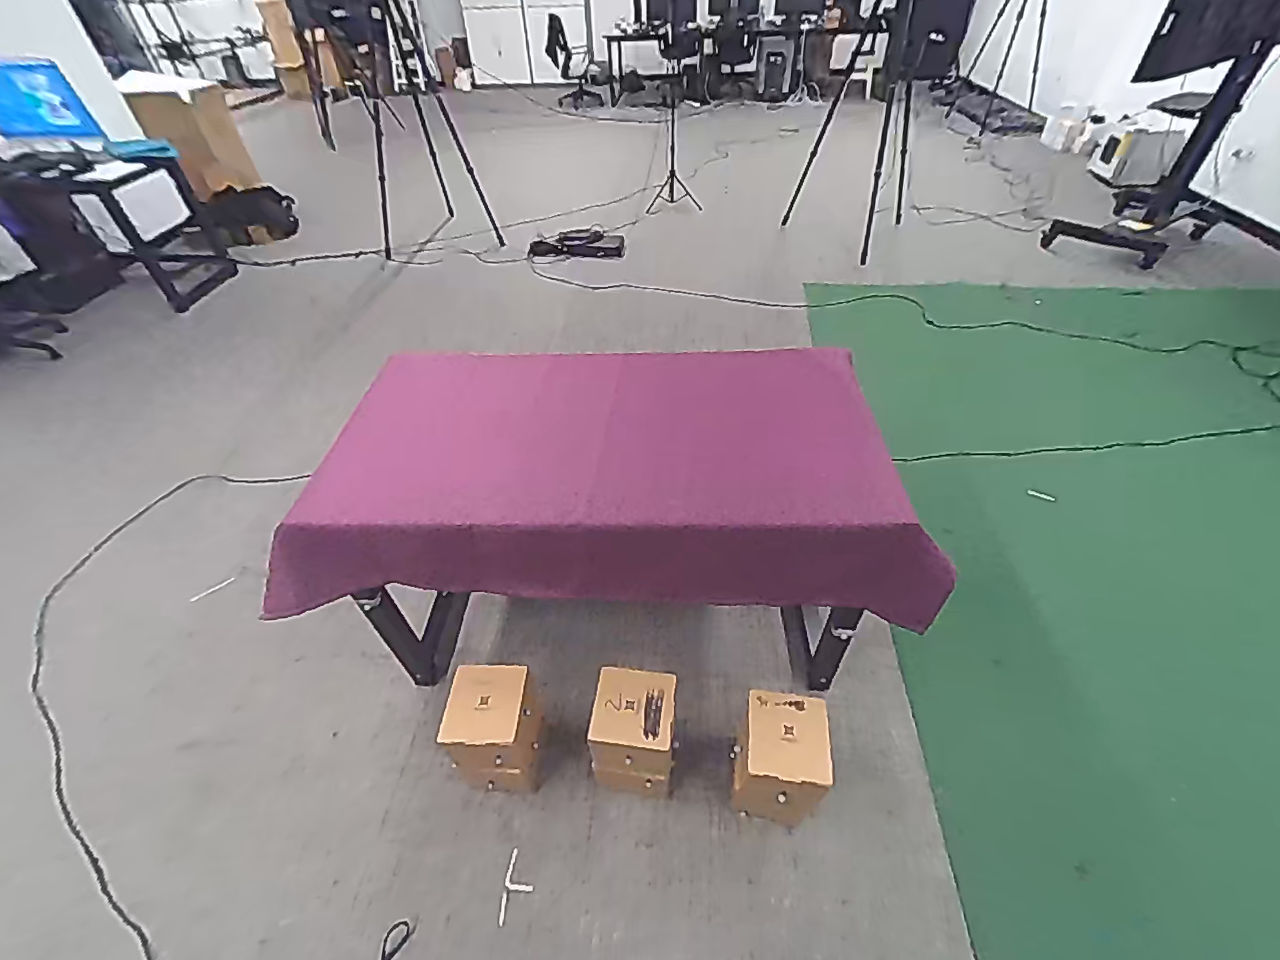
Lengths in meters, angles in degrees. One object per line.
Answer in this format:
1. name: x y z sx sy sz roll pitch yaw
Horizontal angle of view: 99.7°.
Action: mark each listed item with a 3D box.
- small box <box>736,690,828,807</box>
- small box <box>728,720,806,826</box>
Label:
1. small box: 0.303 0.586 1.176 0.168 0.176 0.179 7 47 7
2. small box: 0.307 0.701 1.297 0.168 0.176 0.179 8 45 11
